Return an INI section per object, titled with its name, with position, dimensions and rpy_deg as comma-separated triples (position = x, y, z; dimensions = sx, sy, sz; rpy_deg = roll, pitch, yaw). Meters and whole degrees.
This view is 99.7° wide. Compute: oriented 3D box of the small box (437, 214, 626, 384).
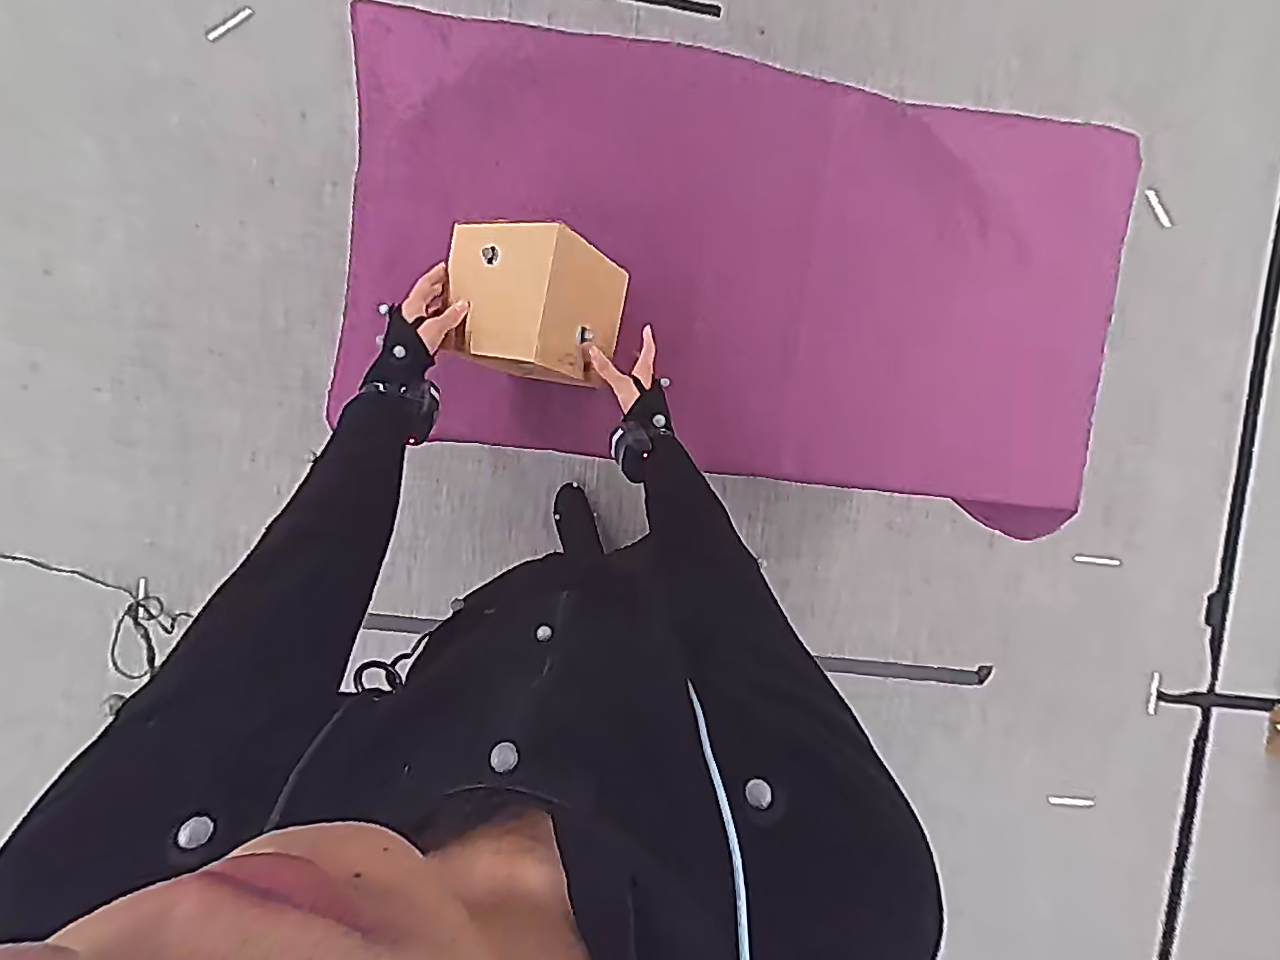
[small box]
position = -0.146, -0.233, 0.728
dimensions = 0.179, 0.168, 0.176
rpy_deg = 13, 95, 28
